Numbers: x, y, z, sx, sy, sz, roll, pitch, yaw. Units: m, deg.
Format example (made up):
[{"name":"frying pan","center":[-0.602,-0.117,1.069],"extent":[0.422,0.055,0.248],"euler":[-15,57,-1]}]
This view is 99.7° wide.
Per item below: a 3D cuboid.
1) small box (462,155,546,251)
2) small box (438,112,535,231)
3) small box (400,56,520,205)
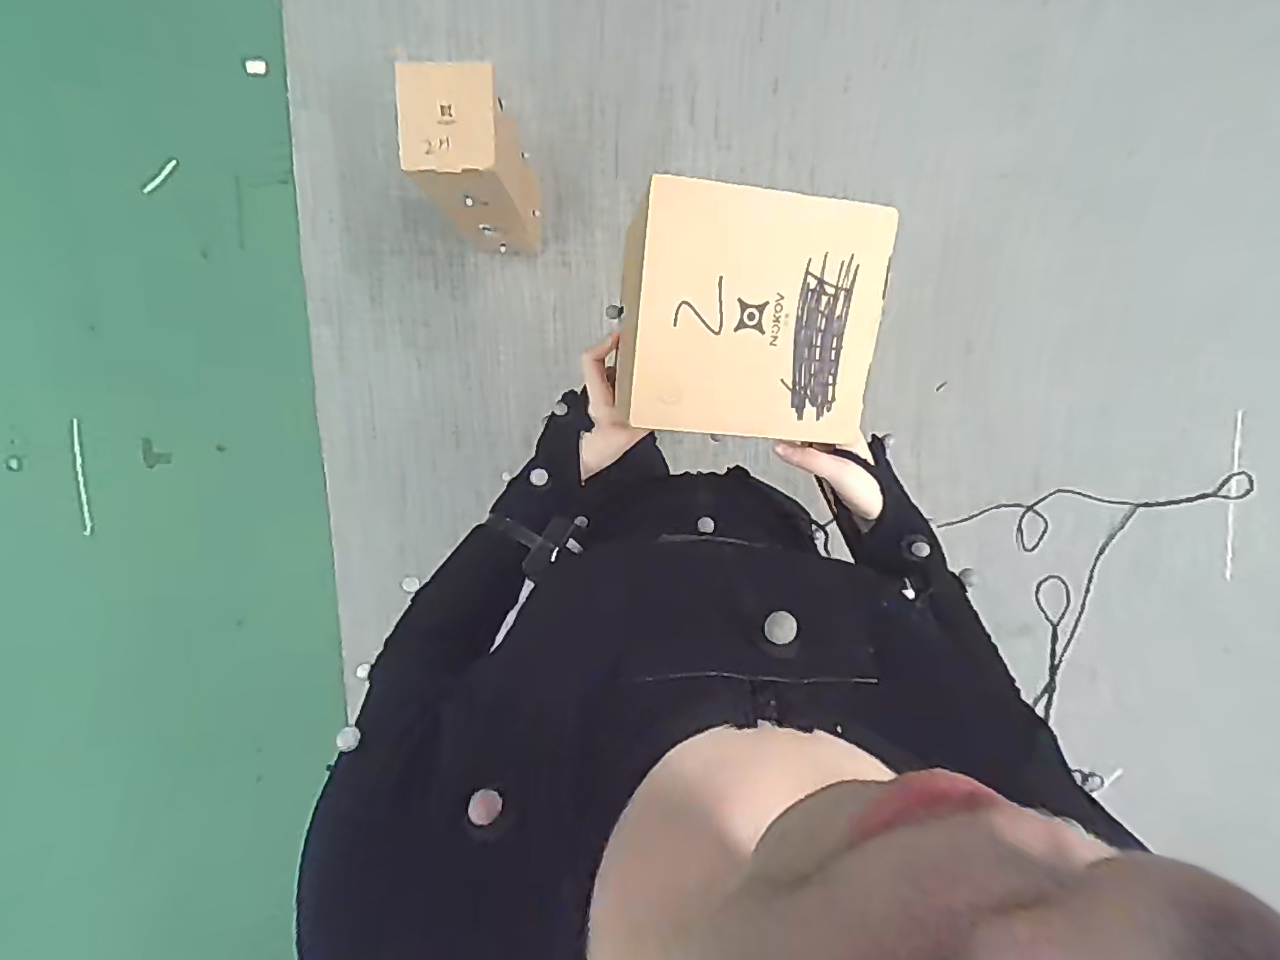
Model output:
[{"name":"small box","center":[-0.326,-0.670,1.314],"extent":[0.168,0.176,0.179],"euler":[3,97,-1]},{"name":"small box","center":[-0.322,-0.650,1.153],"extent":[0.168,0.176,0.179],"euler":[0,98,1]},{"name":"small box","center":[-0.320,-0.628,0.989],"extent":[0.168,0.176,0.179],"euler":[0,96,1]}]
